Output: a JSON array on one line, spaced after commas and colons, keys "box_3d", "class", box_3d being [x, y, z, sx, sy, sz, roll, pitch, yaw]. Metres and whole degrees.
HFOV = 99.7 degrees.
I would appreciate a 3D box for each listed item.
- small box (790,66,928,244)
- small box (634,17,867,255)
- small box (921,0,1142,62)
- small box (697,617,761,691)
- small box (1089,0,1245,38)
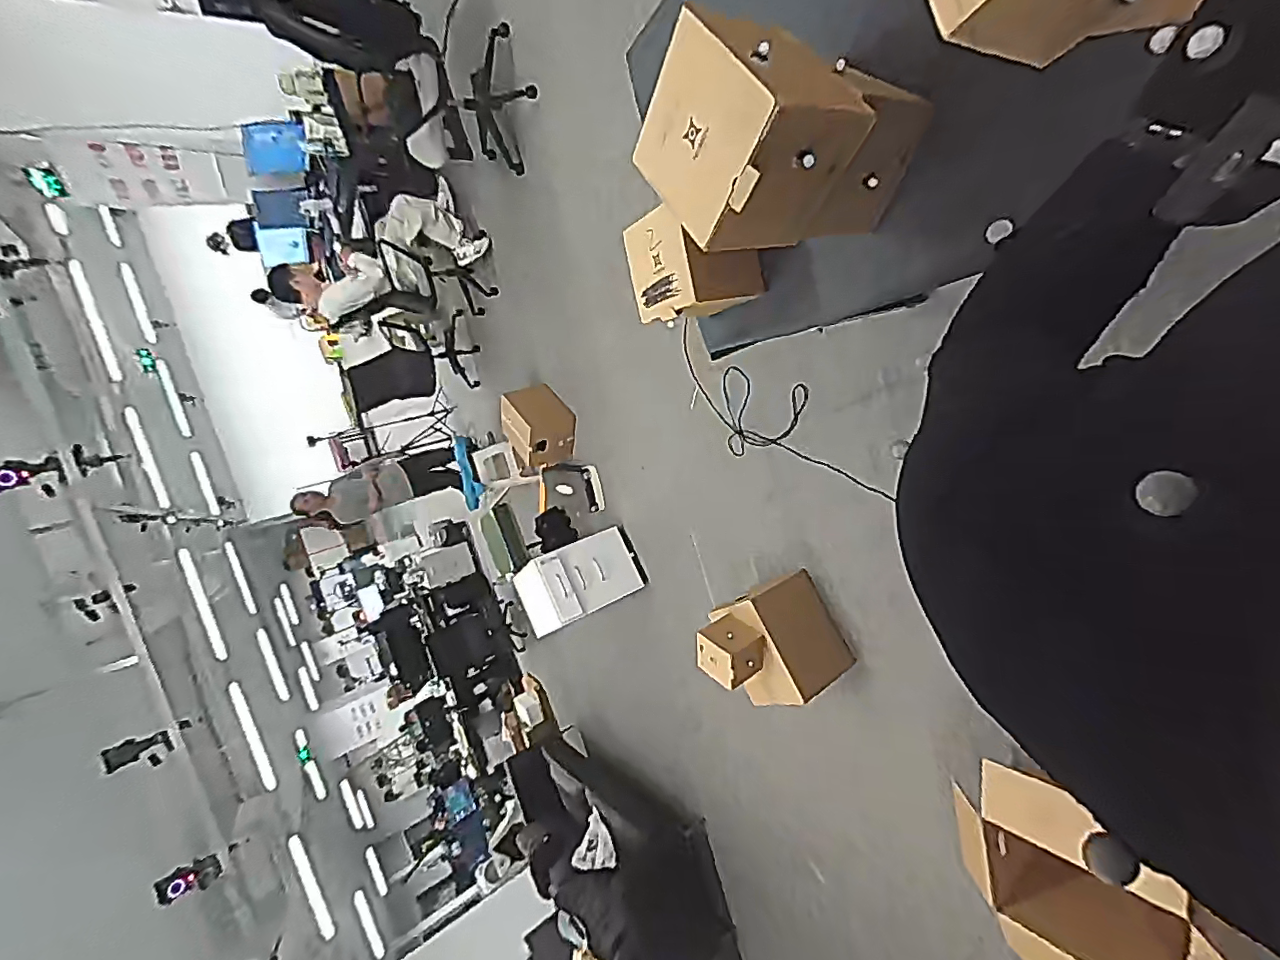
[{"box_3d": [0.246, -0.447, 0.738, 0.179, 0.176, 0.168, 51, 143, 29], "class": "small box"}, {"box_3d": [0.126, -0.396, 0.640, 0.179, 0.176, 0.168, 59, 145, 20], "class": "small box"}, {"box_3d": [0.294, -0.426, 0.360, 0.168, 0.176, 0.179, -17, 92, 60], "class": "small box"}, {"box_3d": [0.332, 0.637, 2.006, 0.179, 0.176, 0.168, 24, 125, 47], "class": "small box"}, {"box_3d": [0.422, -0.486, 0.446, 0.179, 0.176, 0.168, 35, 134, 45], "class": "small box"}]
